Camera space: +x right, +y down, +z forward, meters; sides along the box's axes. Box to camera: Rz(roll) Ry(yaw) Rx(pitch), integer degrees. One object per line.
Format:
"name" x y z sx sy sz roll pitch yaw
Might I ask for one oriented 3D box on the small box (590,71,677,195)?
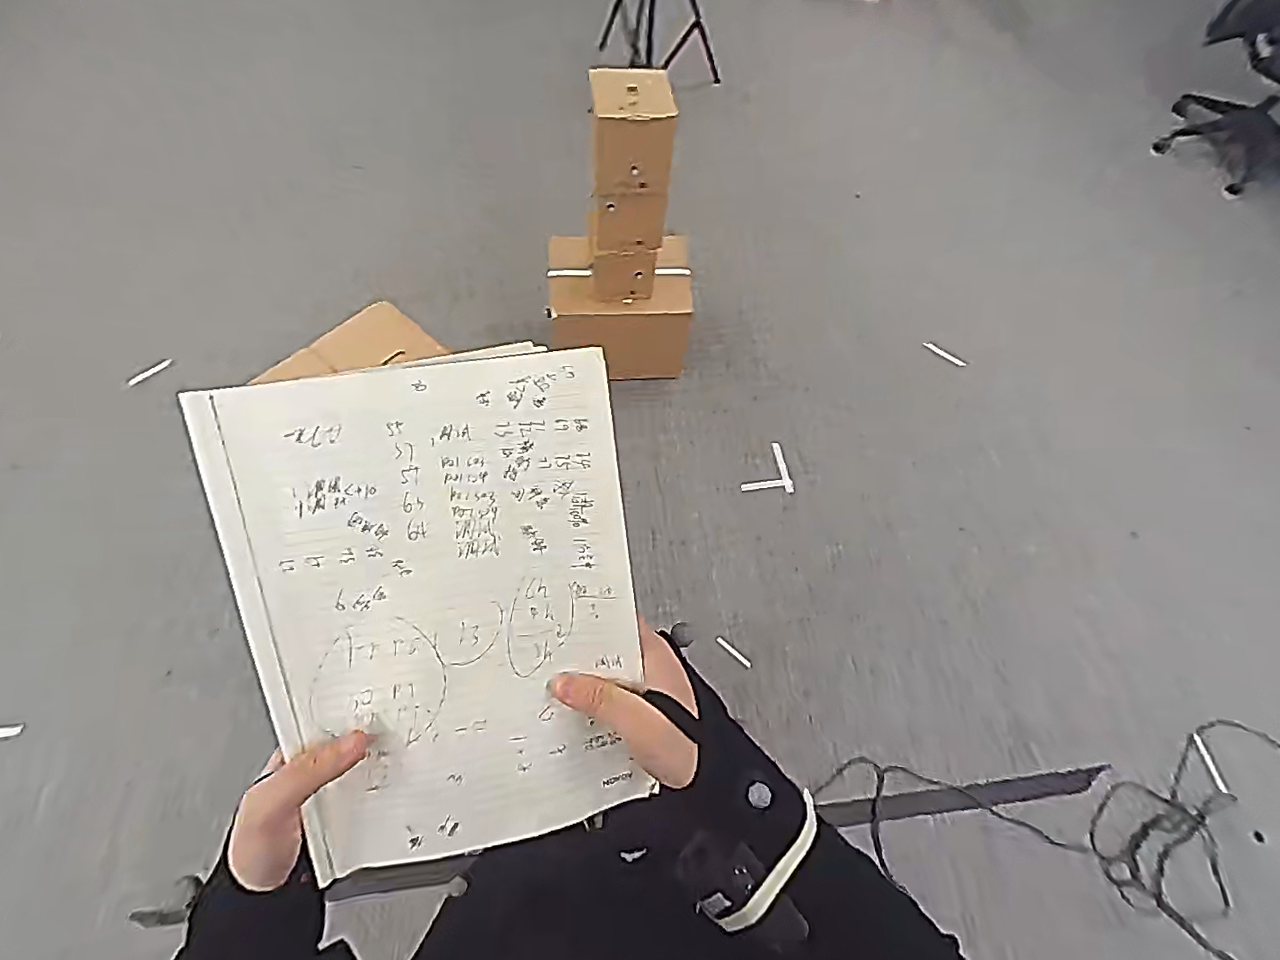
"small box" -0.022 -0.755 1.184 0.168 0.176 0.179 -6 64 -7

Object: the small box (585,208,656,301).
"small box" -0.056 -0.607 1.476 0.168 0.176 0.179 -7 64 -9
